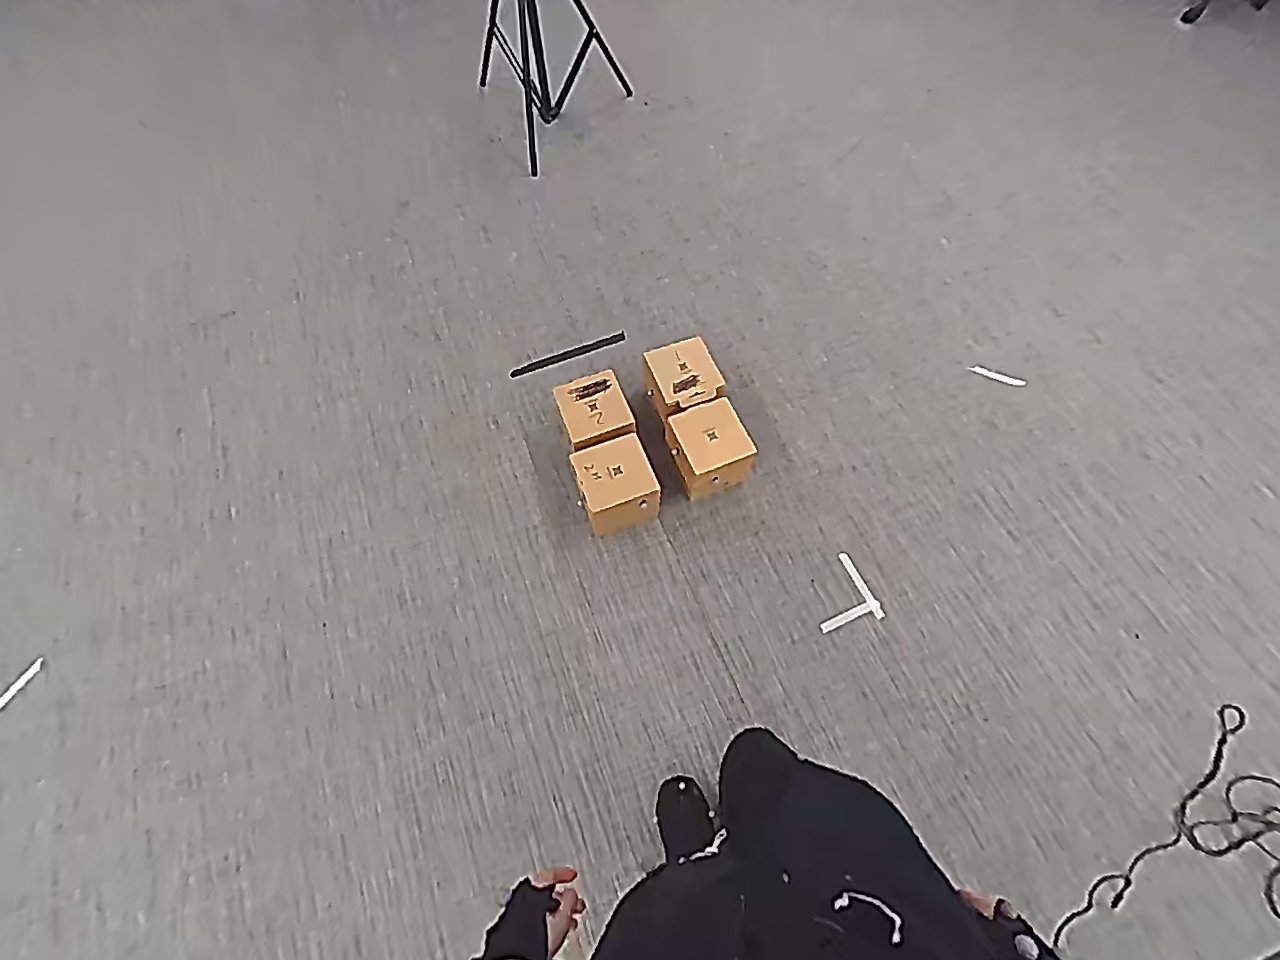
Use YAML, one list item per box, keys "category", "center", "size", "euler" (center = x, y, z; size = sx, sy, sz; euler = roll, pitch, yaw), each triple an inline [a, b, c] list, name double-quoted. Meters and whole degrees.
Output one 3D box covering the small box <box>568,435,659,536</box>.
- category: "small box"
  center: [-0.065, 0.019, 1.341]
  size: [0.179, 0.176, 0.168]
  euler: [-20, 67, -8]
